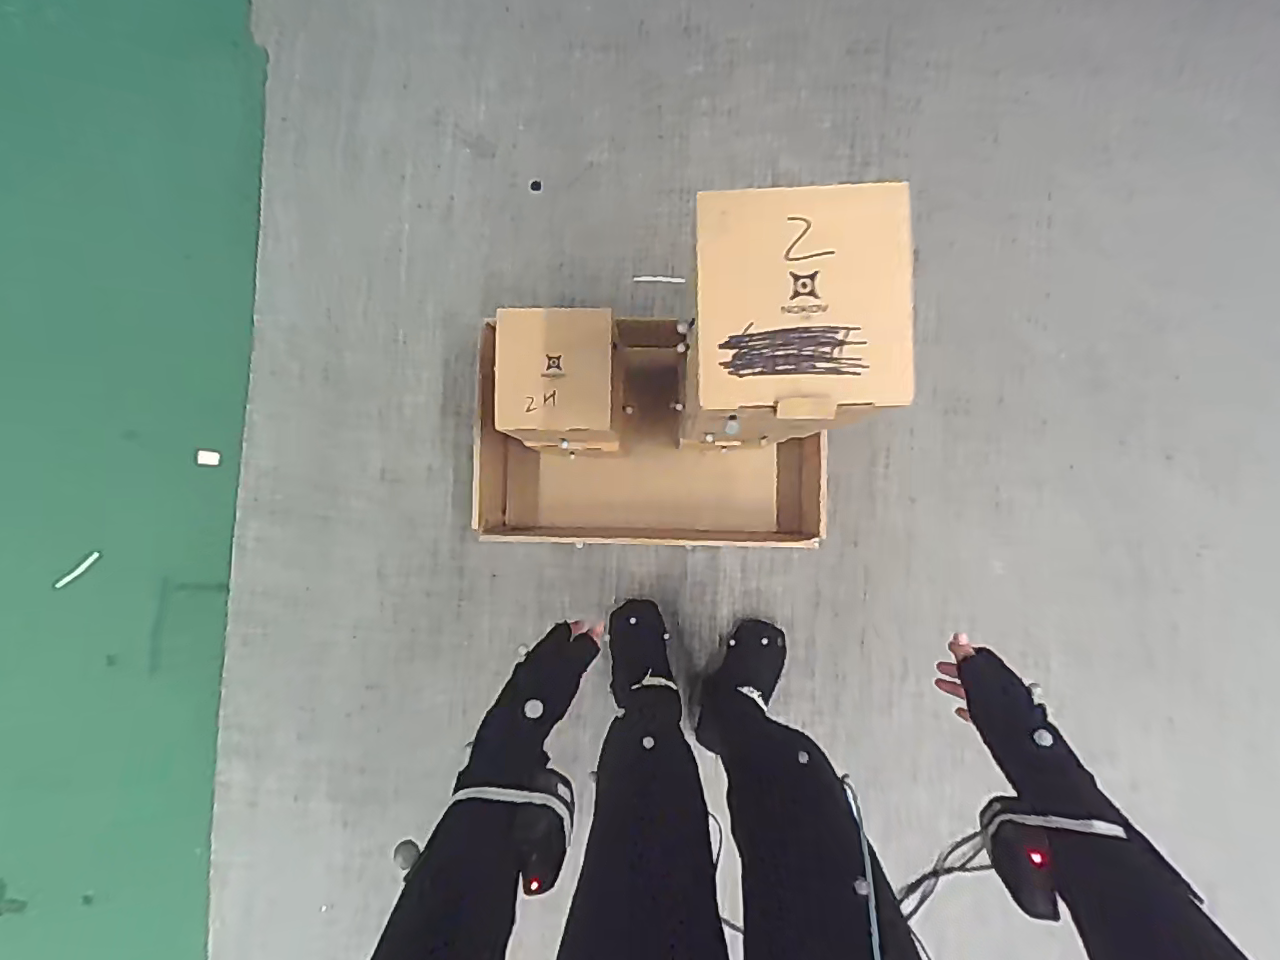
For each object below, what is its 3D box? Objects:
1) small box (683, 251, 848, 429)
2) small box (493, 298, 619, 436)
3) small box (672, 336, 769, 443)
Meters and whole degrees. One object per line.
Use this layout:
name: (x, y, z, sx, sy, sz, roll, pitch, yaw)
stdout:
small box: (0.141, -0.157, 0.660, 0.168, 0.176, 0.179, 2, 90, 2)
small box: (-0.121, -0.165, 0.833, 0.168, 0.176, 0.179, 1, 89, 1)
small box: (0.146, -0.160, 0.988, 0.168, 0.176, 0.179, -3, 89, 4)
